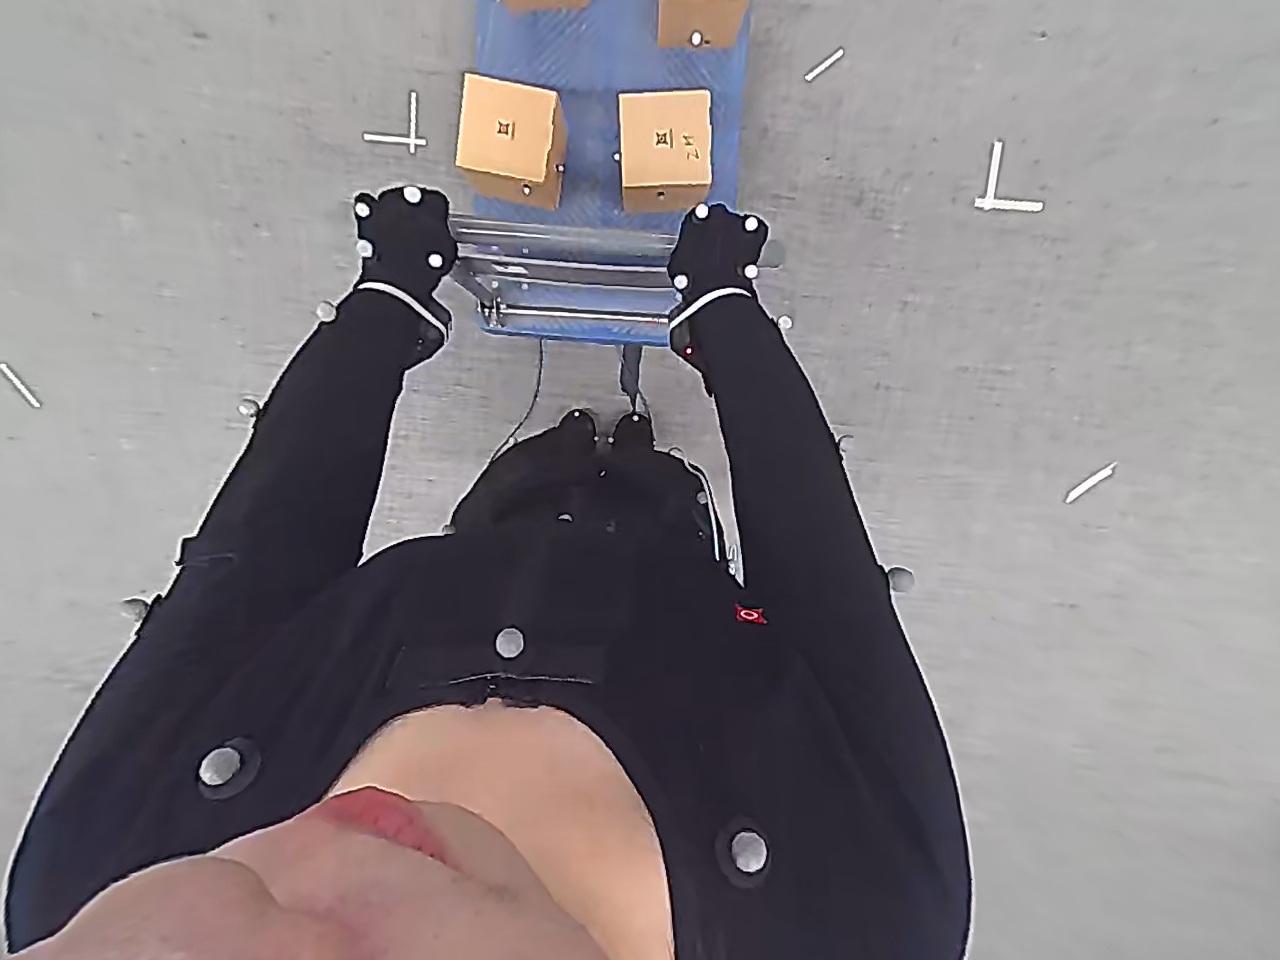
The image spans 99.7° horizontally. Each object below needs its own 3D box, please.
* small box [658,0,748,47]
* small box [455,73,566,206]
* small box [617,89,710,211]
[{"bbox_3d":[0.121,-0.988,1.045,0.168,0.176,0.179,0,101,0],"label":"small box"},{"bbox_3d":[-0.257,-0.678,1.098,0.179,0.176,0.168,9,100,-3],"label":"small box"},{"bbox_3d":[0.047,-0.661,1.102,0.179,0.176,0.168,-2,100,0],"label":"small box"}]
